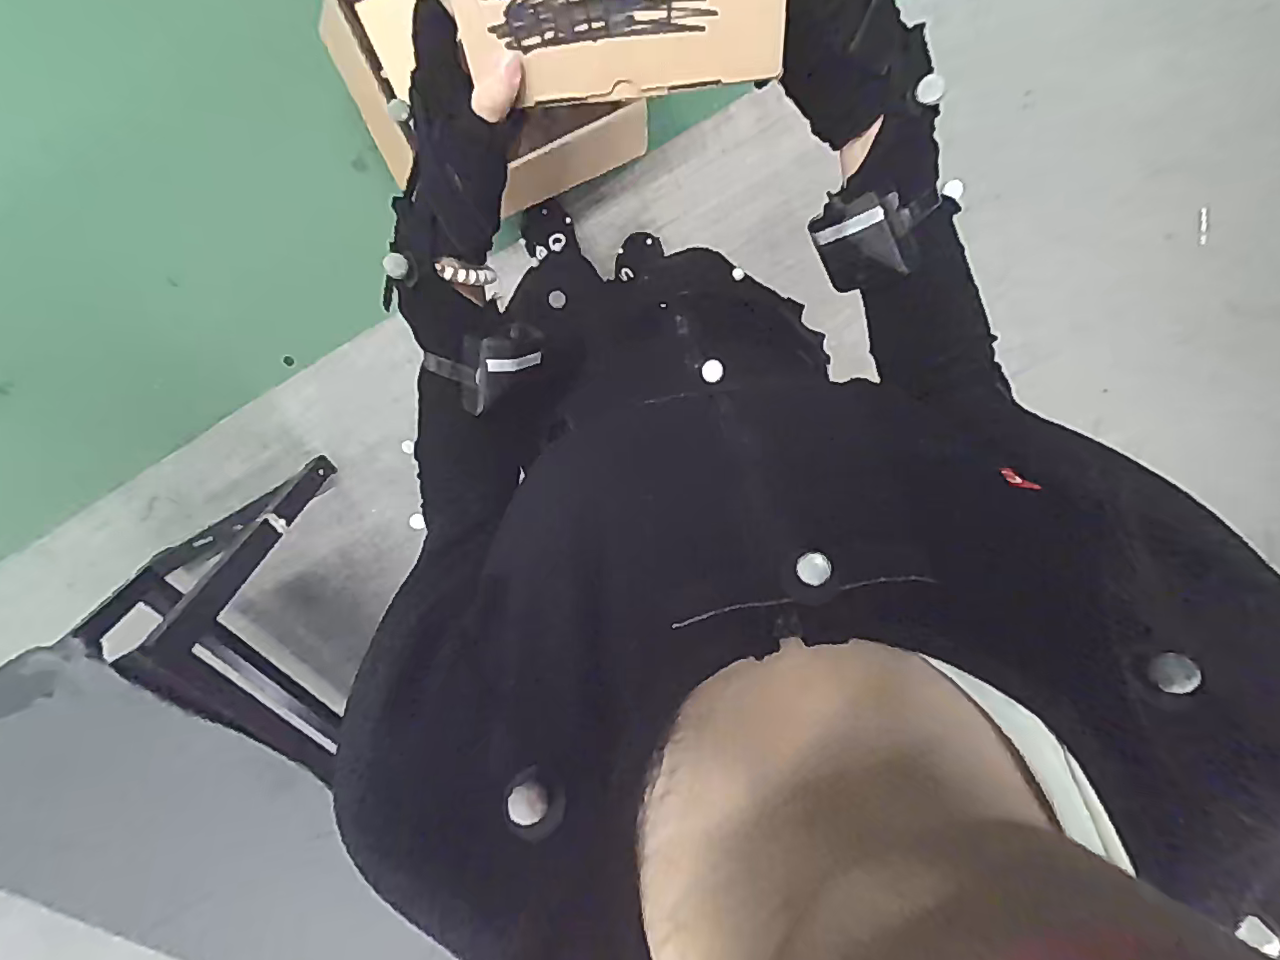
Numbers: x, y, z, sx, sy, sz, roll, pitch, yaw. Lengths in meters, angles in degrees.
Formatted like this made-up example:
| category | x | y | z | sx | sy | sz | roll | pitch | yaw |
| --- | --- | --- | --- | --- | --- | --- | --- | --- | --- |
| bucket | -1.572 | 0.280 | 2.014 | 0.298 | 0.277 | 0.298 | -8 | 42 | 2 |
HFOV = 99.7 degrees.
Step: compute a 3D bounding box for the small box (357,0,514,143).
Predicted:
| category | x | y | z | sx | sy | sz | roll | pitch | yaw |
| --- | --- | --- | --- | --- | --- | --- | --- | --- | --- |
| small box | -0.321 | -0.683 | 0.888 | 0.168 | 0.176 | 0.179 | -20 | 118 | 3 |
